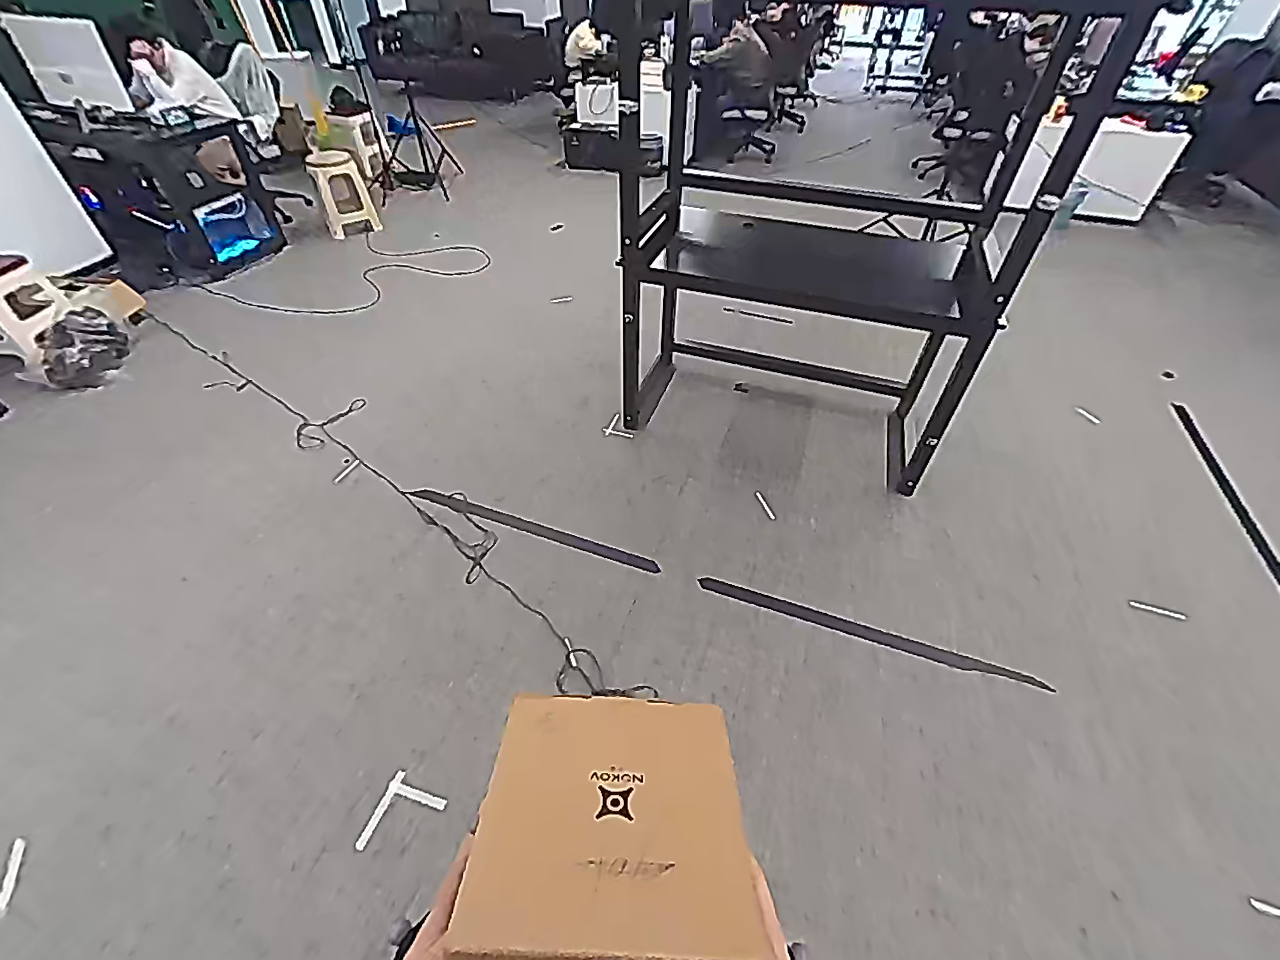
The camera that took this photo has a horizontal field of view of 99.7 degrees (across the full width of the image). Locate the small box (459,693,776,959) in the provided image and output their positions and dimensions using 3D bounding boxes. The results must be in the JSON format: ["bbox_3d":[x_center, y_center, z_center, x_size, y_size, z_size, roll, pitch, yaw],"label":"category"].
[{"bbox_3d":[-0.018,0.281,0.377,0.168,0.176,0.179,4,22,-2],"label":"small box"}]
